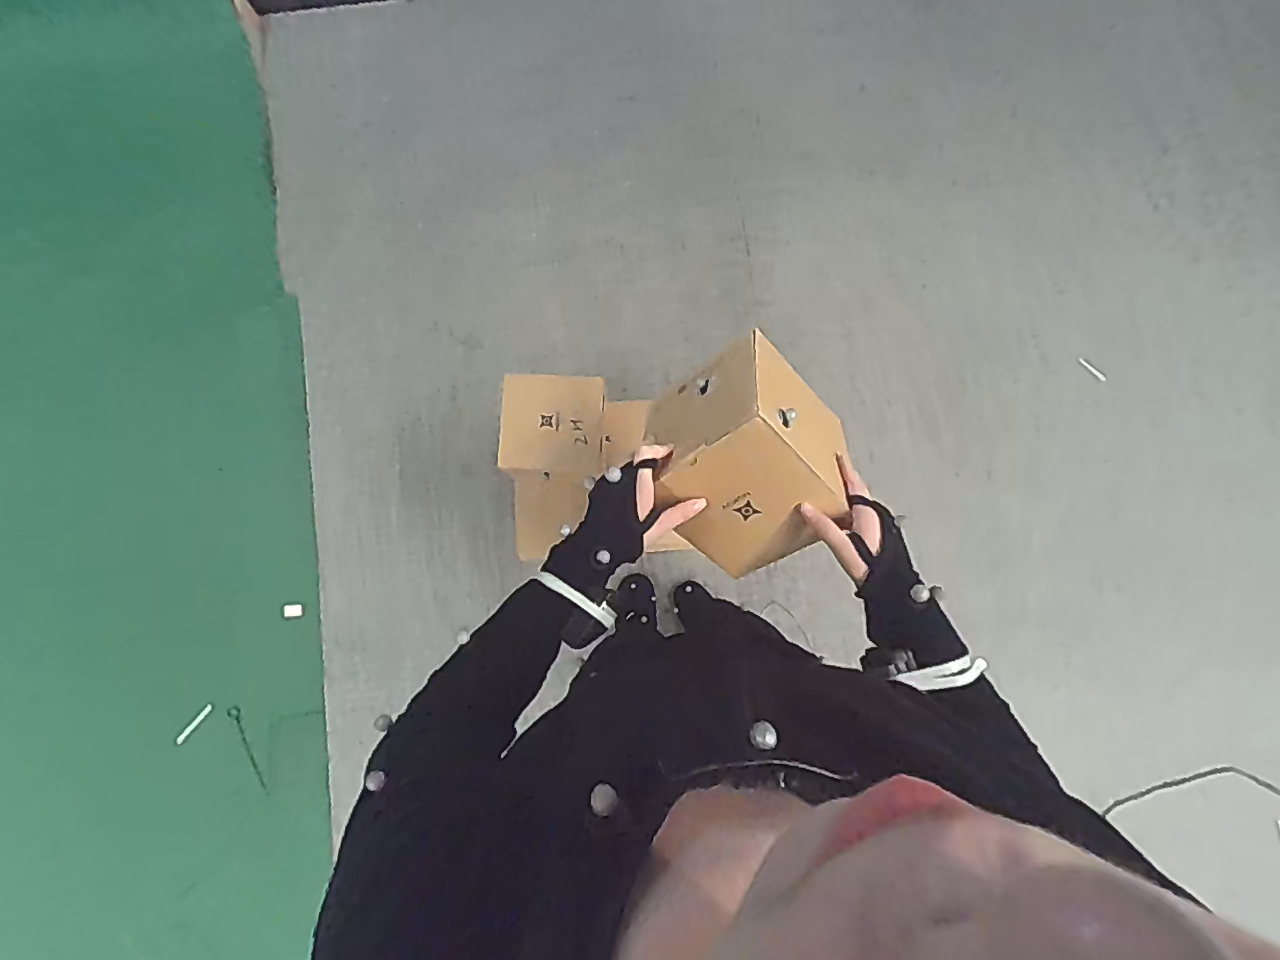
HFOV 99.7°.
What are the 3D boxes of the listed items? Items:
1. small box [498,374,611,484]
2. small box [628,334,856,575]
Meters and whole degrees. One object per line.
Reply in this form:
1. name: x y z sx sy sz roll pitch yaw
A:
1. small box: -0.149 -0.085 0.993 0.179 0.176 0.168 3 82 -1
2. small box: 0.114 -0.028 0.609 0.179 0.176 0.168 39 127 -23
